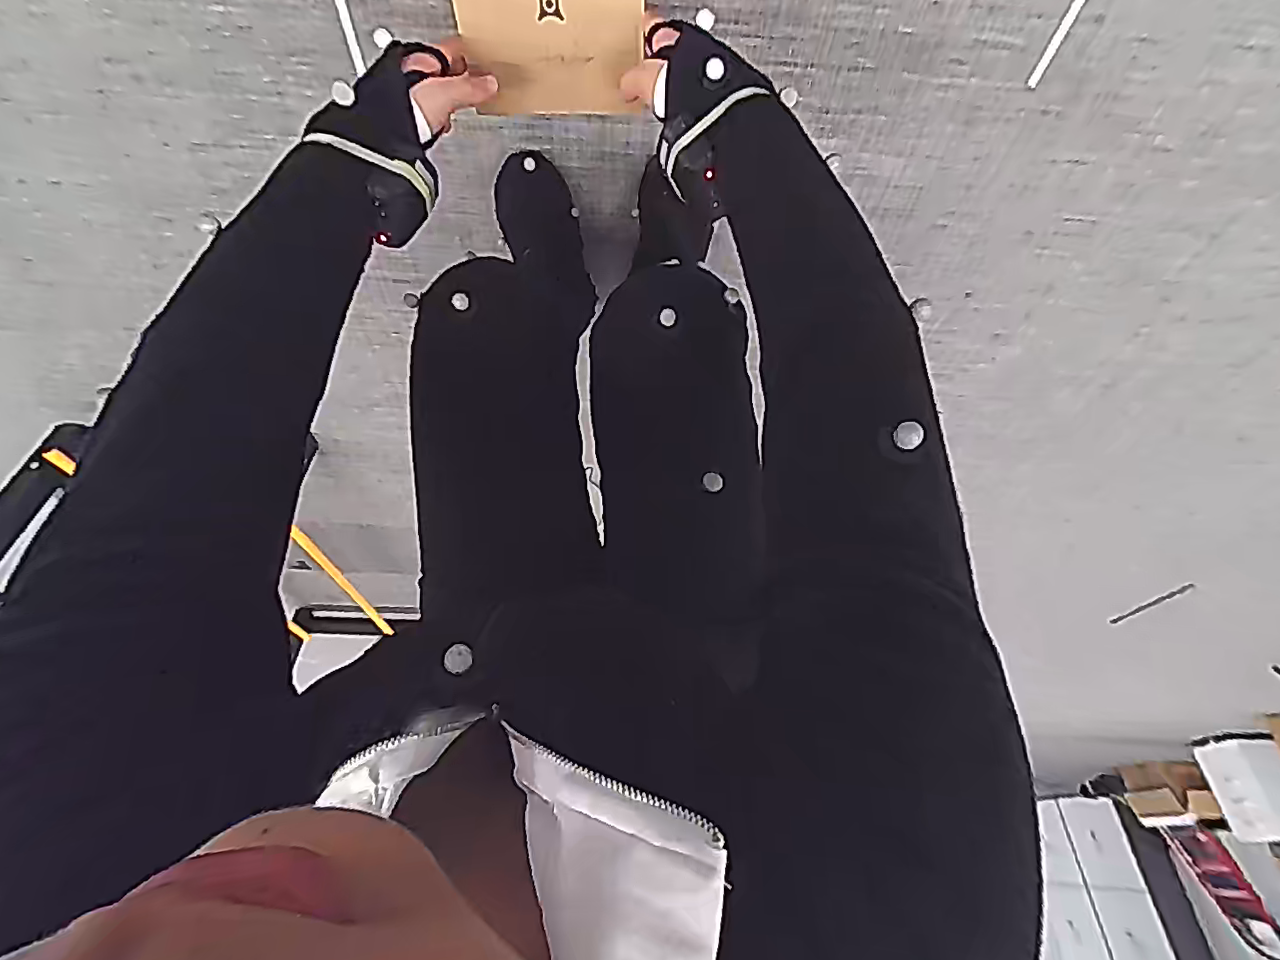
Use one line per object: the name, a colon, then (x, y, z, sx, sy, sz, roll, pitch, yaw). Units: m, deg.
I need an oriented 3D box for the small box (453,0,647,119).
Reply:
small box: (-0.077, -0.465, 0.504, 0.168, 0.176, 0.179, 0, 142, 1)
